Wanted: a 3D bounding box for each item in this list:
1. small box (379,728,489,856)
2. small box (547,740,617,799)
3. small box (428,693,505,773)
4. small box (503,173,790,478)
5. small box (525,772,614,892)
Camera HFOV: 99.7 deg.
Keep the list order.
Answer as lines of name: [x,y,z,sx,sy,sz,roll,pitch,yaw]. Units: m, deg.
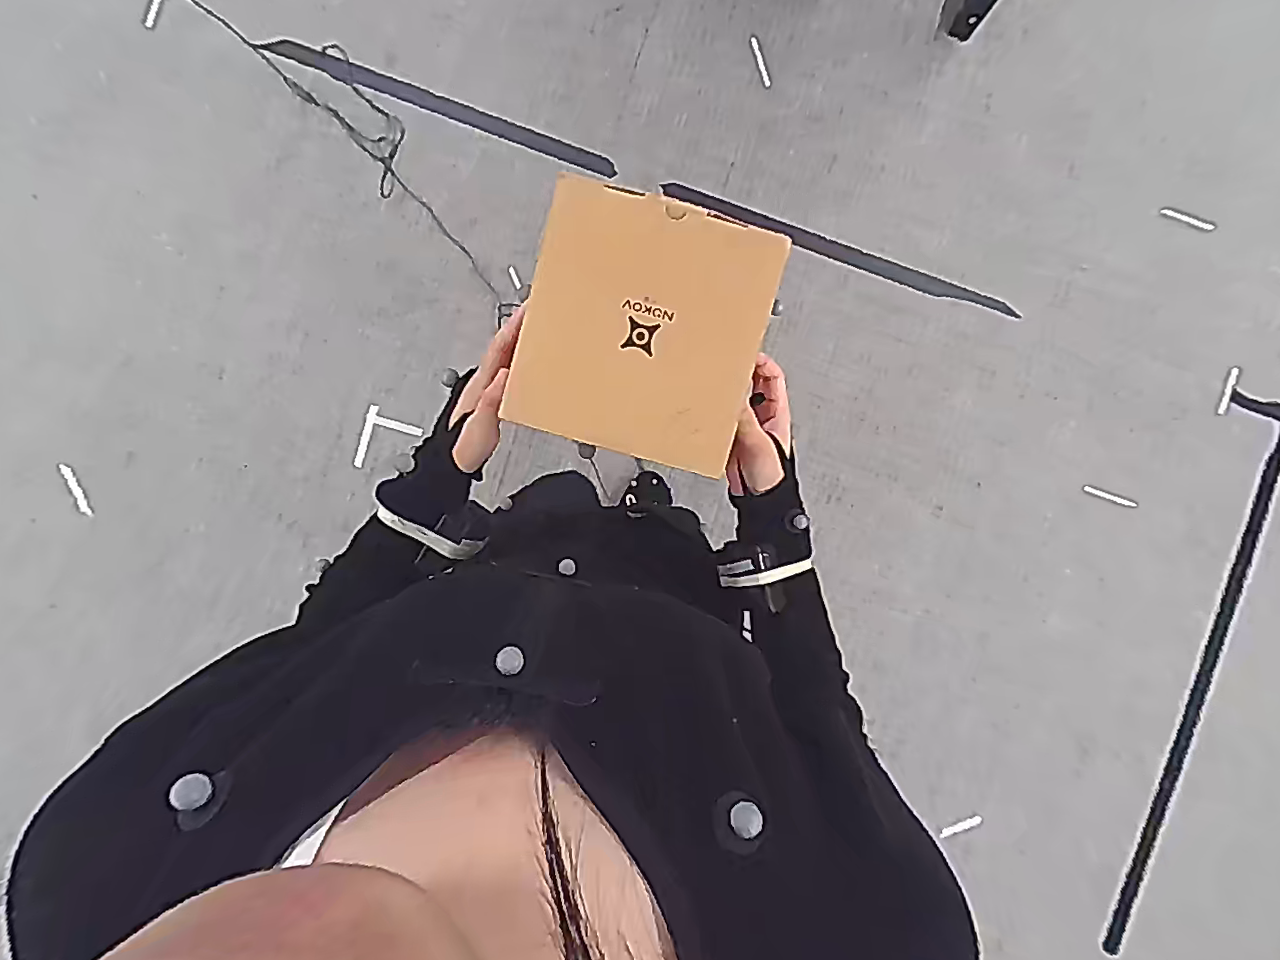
small box: [-0.462,0.705,1.241,0.168,0.176,0.179,18,91,-2]
small box: [-0.157,0.804,1.417,0.179,0.176,0.168,6,90,-3]
small box: [-0.467,0.692,1.406,0.168,0.176,0.179,21,90,-2]
small box: [0.004,-0.110,0.453,0.168,0.176,0.179,15,93,-1]
small box: [-0.155,0.806,1.254,0.179,0.176,0.168,8,89,-1]
